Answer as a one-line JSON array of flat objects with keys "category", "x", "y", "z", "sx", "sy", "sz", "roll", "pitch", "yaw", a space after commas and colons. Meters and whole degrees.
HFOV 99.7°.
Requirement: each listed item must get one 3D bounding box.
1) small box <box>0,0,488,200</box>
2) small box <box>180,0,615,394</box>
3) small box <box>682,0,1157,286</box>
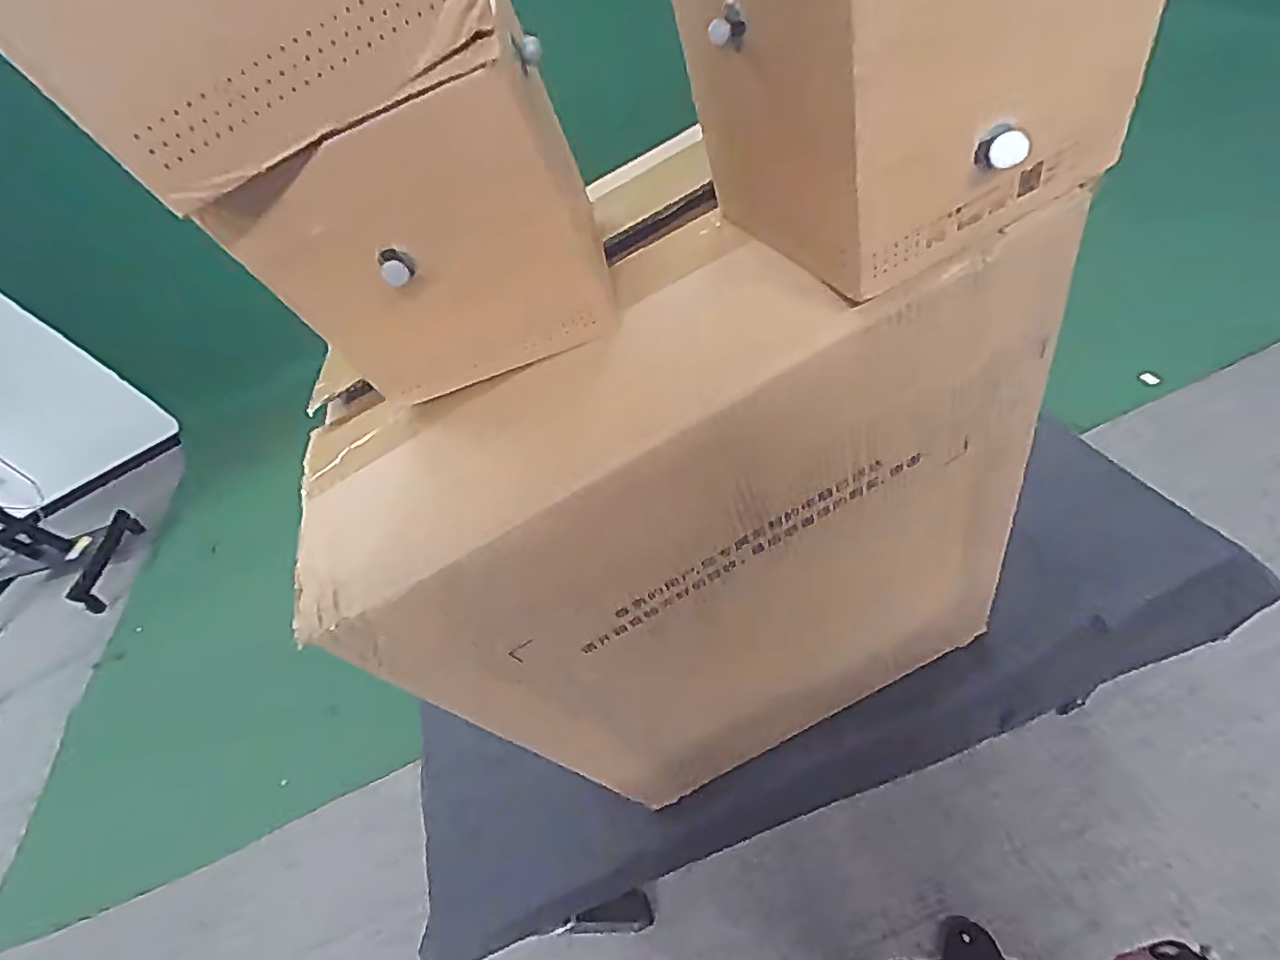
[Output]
[{"category": "small box", "x": -0.198, "y": -0.259, "z": 0.230, "sx": 0.179, "sy": 0.176, "sz": 0.168, "roll": -32, "pitch": 56, "yaw": -2}, {"category": "small box", "x": -0.134, "y": -0.184, "z": 0.361, "sx": 0.179, "sy": 0.176, "sz": 0.168, "roll": -18, "pitch": 56, "yaw": 10}, {"category": "small box", "x": 0.134, "y": -0.239, "z": 0.298, "sx": 0.168, "sy": 0.176, "sz": 0.179, "roll": -28, "pitch": 48, "yaw": 0}]
